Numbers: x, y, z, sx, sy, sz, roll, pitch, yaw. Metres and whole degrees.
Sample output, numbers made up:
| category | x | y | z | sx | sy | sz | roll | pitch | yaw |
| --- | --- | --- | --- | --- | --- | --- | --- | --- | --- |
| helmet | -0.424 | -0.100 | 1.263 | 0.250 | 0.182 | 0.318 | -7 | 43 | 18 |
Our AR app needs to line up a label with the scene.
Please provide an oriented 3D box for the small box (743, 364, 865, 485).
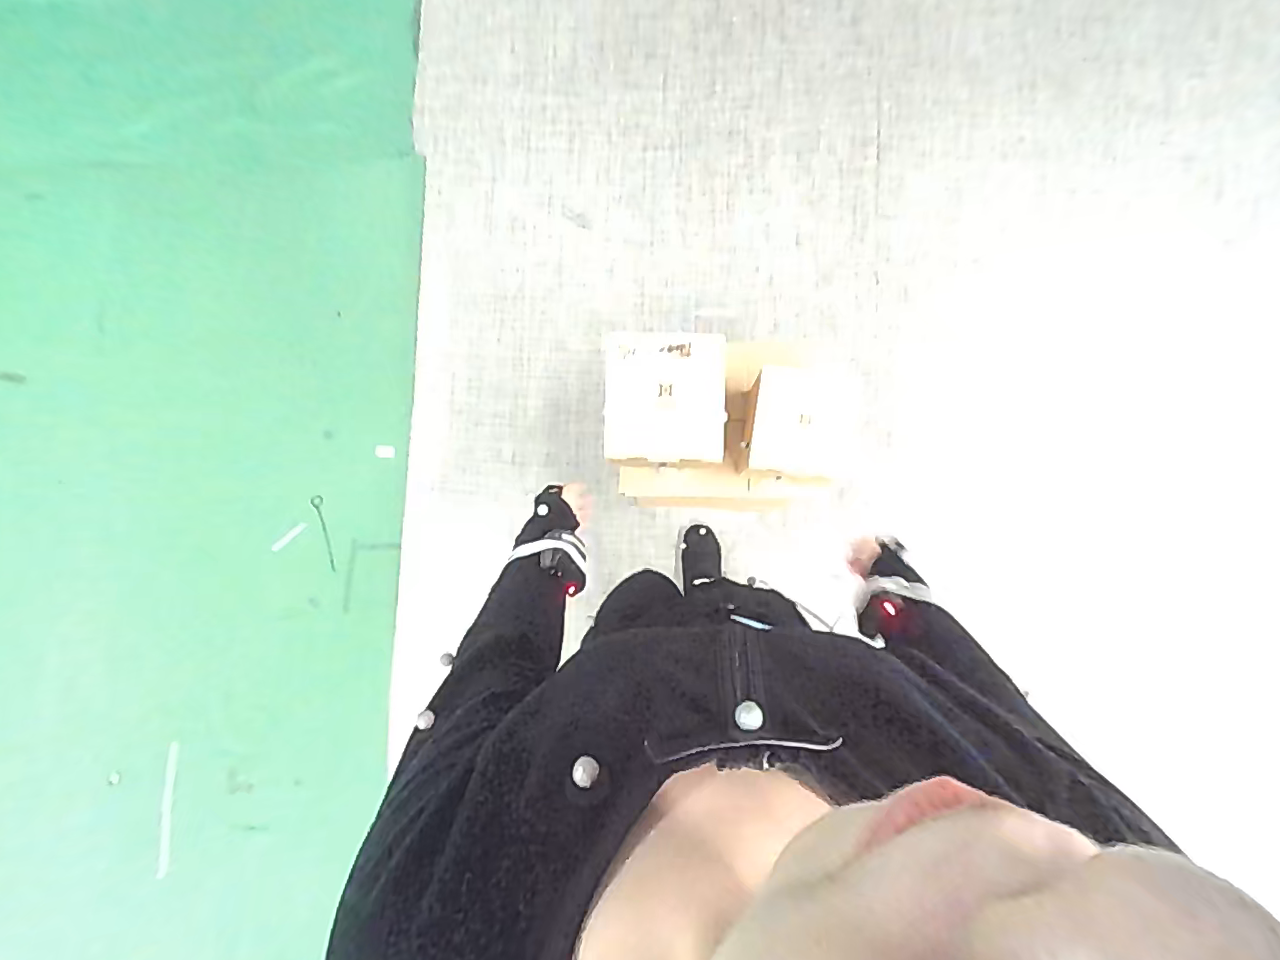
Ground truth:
| category | x | y | z | sx | sy | sz | roll | pitch | yaw |
| --- | --- | --- | --- | --- | --- | --- | --- | --- | --- |
| small box | 0.281 | -0.090 | 0.961 | 0.168 | 0.176 | 0.179 | 8 | 87 | 5 |

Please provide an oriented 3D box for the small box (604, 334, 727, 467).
| category | x | y | z | sx | sy | sz | roll | pitch | yaw |
| --- | --- | --- | --- | --- | --- | --- | --- | --- | --- |
| small box | 0.039 | -0.110 | 0.816 | 0.168 | 0.176 | 0.179 | 1 | 88 | 2 |
